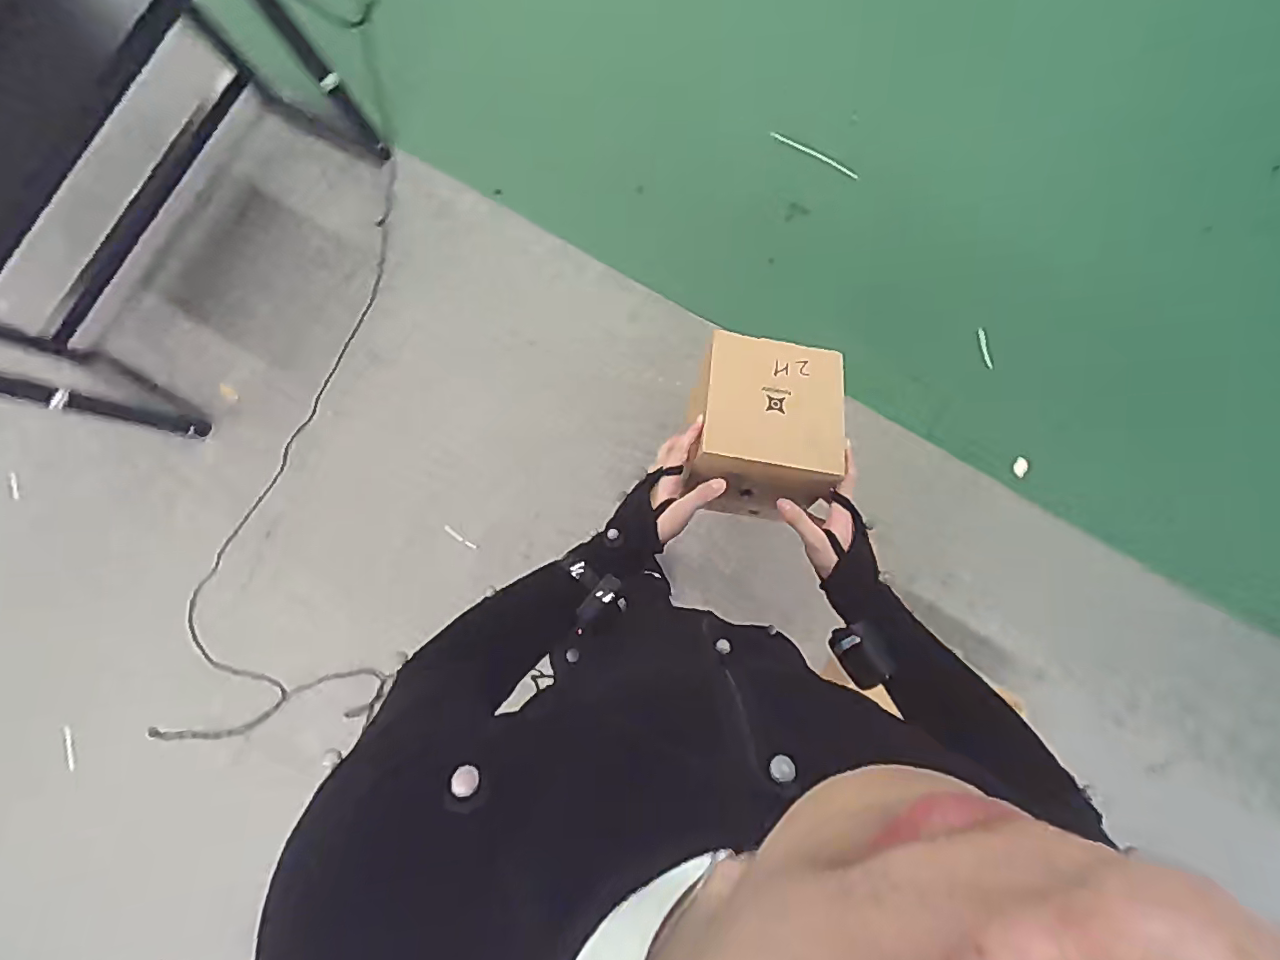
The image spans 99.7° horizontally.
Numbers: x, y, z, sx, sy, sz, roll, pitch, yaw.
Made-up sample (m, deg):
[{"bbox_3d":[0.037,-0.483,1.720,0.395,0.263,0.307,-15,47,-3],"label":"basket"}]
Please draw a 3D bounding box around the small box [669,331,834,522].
[{"bbox_3d":[0.136,-0.059,0.698,0.168,0.176,0.179,10,64,-3],"label":"small box"}]
